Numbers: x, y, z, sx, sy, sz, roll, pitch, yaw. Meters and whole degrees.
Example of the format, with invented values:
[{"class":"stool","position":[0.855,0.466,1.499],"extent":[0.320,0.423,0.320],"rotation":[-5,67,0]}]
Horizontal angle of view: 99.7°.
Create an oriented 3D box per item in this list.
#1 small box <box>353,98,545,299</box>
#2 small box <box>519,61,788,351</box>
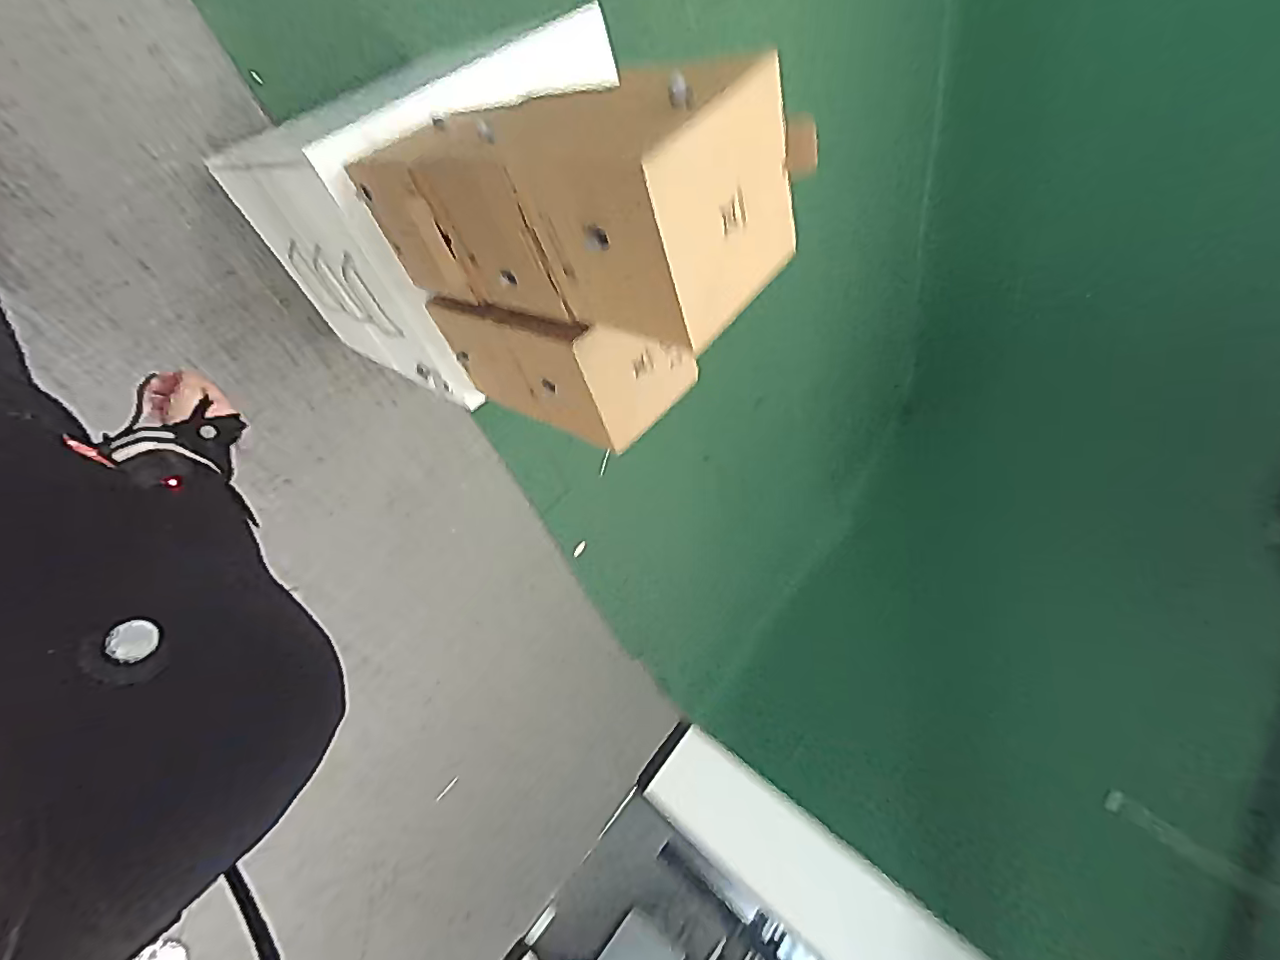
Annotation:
[{"class":"small box","position":[-0.231,-0.357,0.689],"extent":[0.179,0.176,0.168],"rotation":[-46,141,-24]},{"class":"small box","position":[0.013,-0.250,0.502],"extent":[0.179,0.176,0.168],"rotation":[-49,142,-21]}]
